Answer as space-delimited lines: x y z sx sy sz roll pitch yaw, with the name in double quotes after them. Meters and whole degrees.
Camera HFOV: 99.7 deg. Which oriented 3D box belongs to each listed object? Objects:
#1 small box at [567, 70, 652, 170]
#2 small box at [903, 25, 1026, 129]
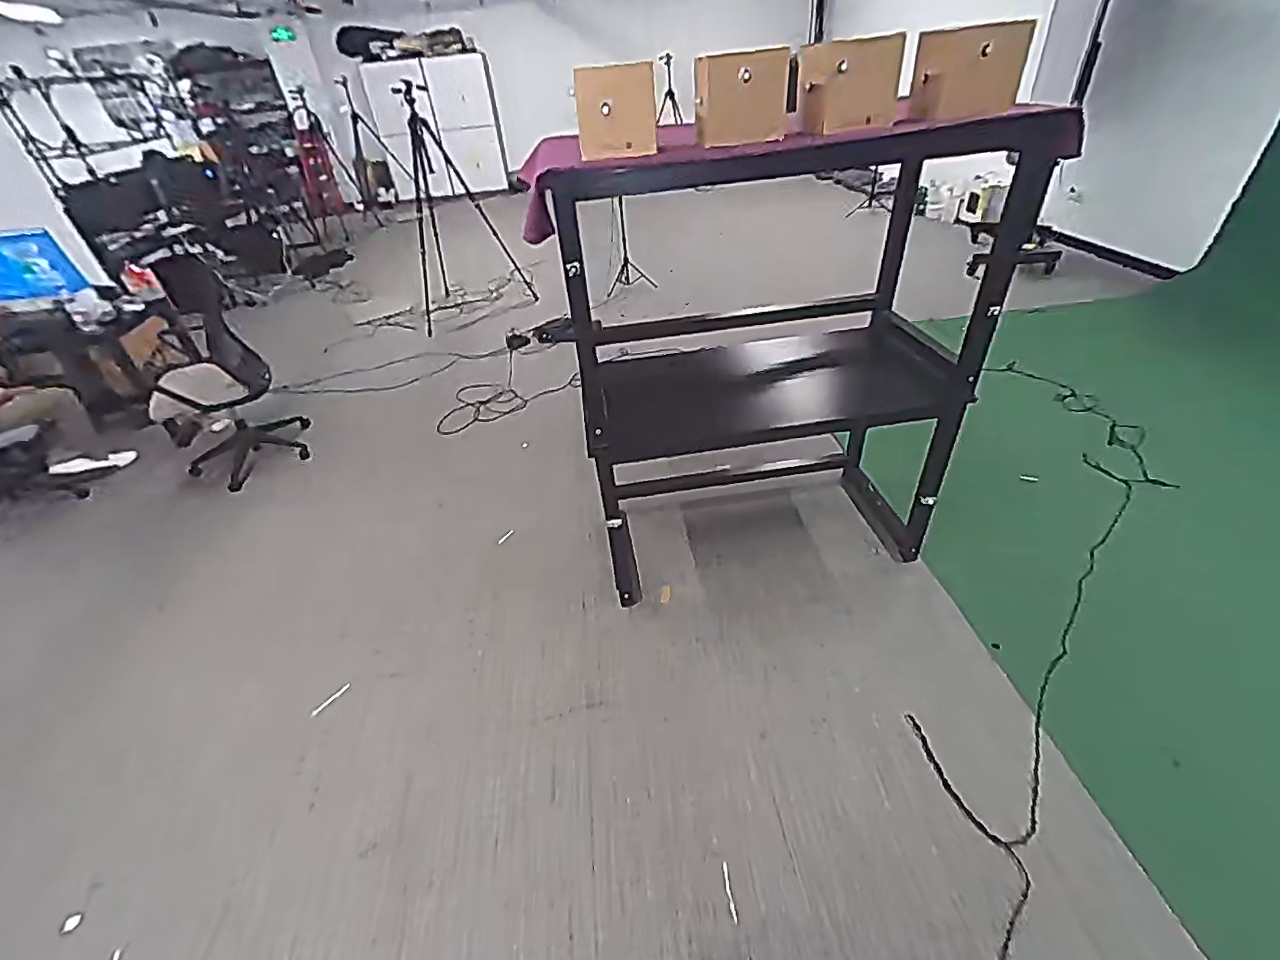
-0.064 -0.801 1.208 0.168 0.176 0.179 -6 36 0 "small box"
0.727 -0.919 1.240 0.179 0.176 0.168 -7 38 1 "small box"
